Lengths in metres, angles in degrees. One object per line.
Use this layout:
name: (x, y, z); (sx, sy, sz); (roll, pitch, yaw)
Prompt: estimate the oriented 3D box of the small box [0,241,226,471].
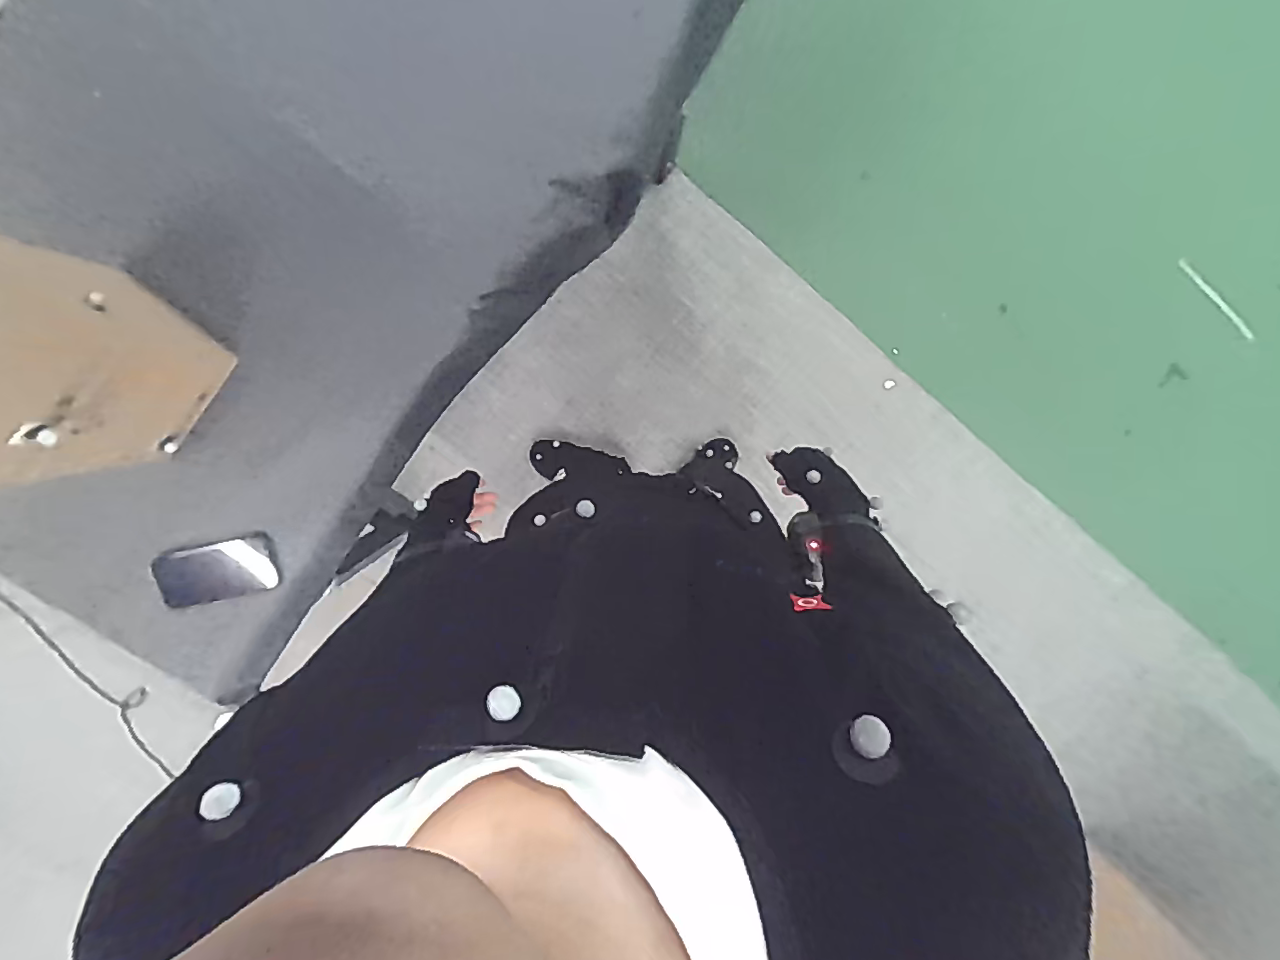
small box: (-0.619, -0.136, 0.592); (0.179, 0.176, 0.168); (39, 96, -6)
